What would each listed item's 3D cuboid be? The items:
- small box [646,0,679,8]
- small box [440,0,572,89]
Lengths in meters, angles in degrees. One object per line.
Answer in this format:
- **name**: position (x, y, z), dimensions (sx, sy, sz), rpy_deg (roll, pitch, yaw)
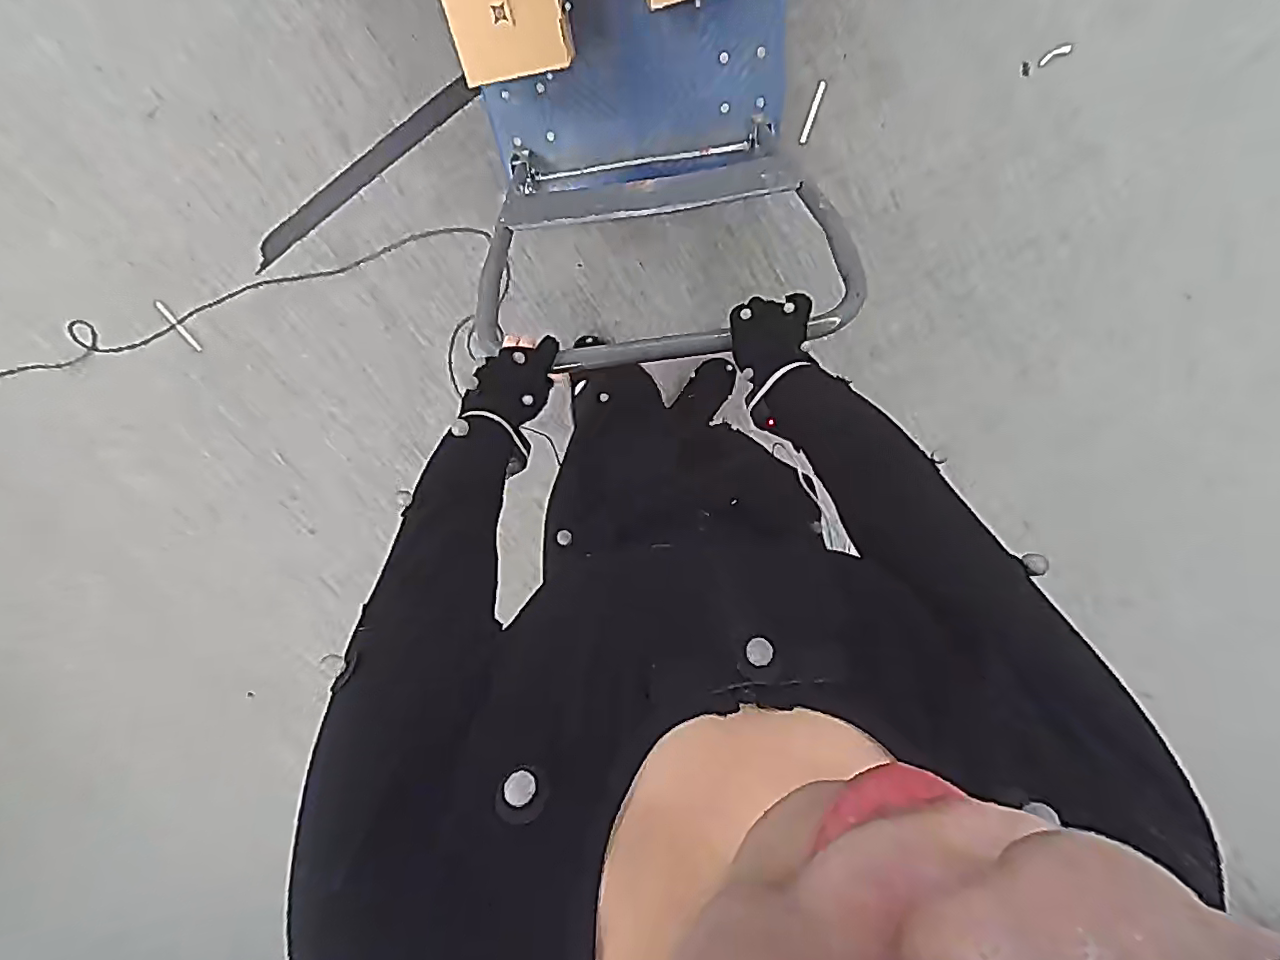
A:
- **small box**: position (0.077, -0.856, 0.832), dimensions (0.179, 0.176, 0.168), rpy_deg (-11, 132, 8)
- **small box**: position (-0.217, -0.772, 0.896), dimensions (0.179, 0.176, 0.168), rpy_deg (-10, 132, 4)
